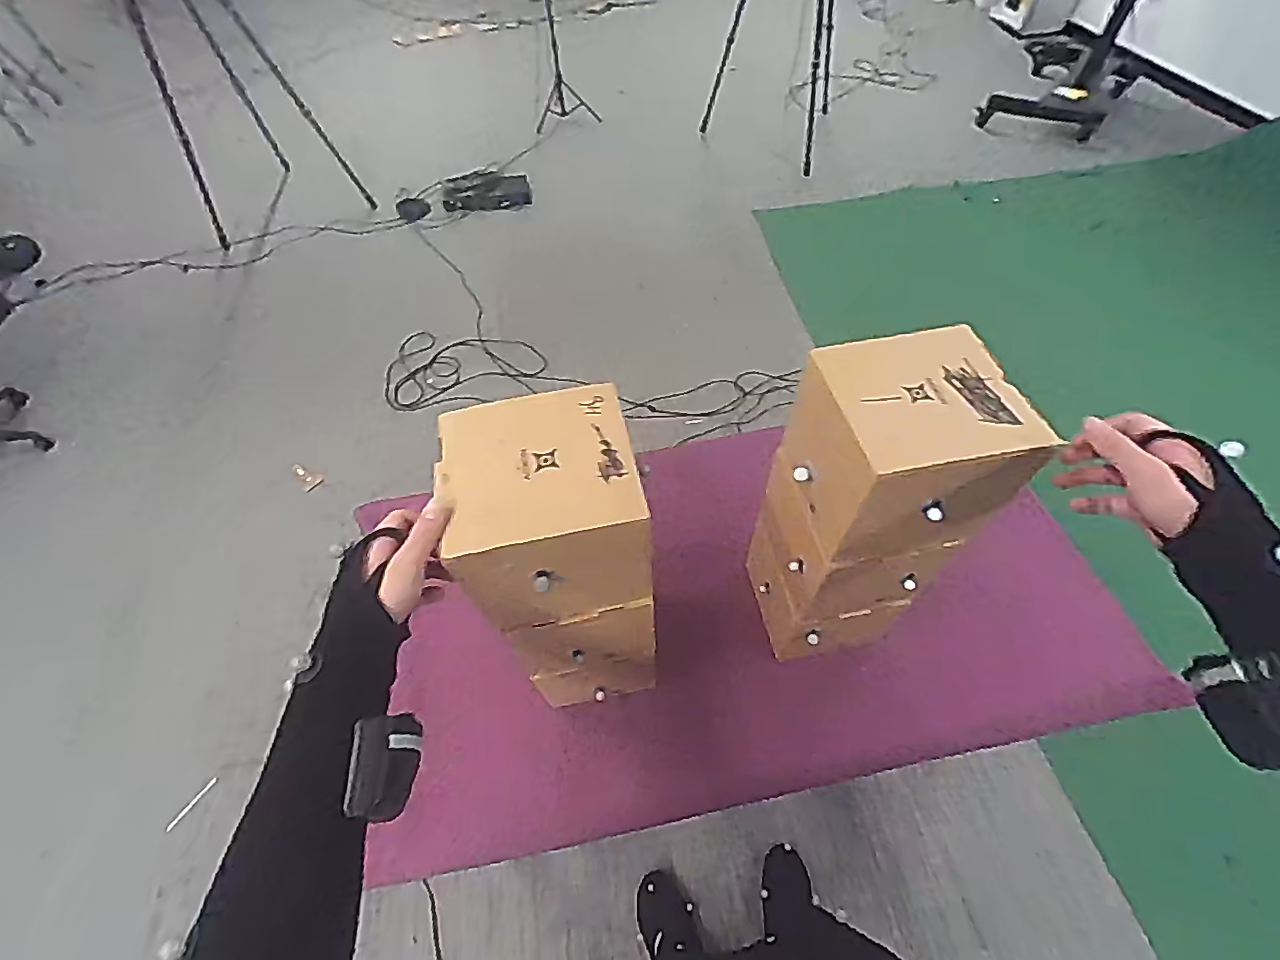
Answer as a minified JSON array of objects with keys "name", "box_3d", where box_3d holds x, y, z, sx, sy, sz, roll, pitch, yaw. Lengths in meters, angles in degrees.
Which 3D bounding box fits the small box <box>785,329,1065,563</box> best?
[{"name":"small box","box_3d":[0.272,-0.031,0.568,0.179,0.176,0.168,-10,55,-4]}]

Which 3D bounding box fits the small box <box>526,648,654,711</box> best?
[{"name":"small box","box_3d":[-0.075,0.223,0.807,0.168,0.176,0.179,-10,55,-4]}]

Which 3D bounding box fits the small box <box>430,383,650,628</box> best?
[{"name":"small box","box_3d":[-0.092,0.031,0.543,0.179,0.176,0.168,-11,55,-5]}]

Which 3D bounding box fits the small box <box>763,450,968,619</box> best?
[{"name":"small box","box_3d":[0.271,0.066,0.700,0.168,0.176,0.179,-10,54,-5]}]

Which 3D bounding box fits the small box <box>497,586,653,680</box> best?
[{"name":"small box","box_3d":[-0.082,0.127,0.676,0.168,0.176,0.179,-11,55,-5]}]
